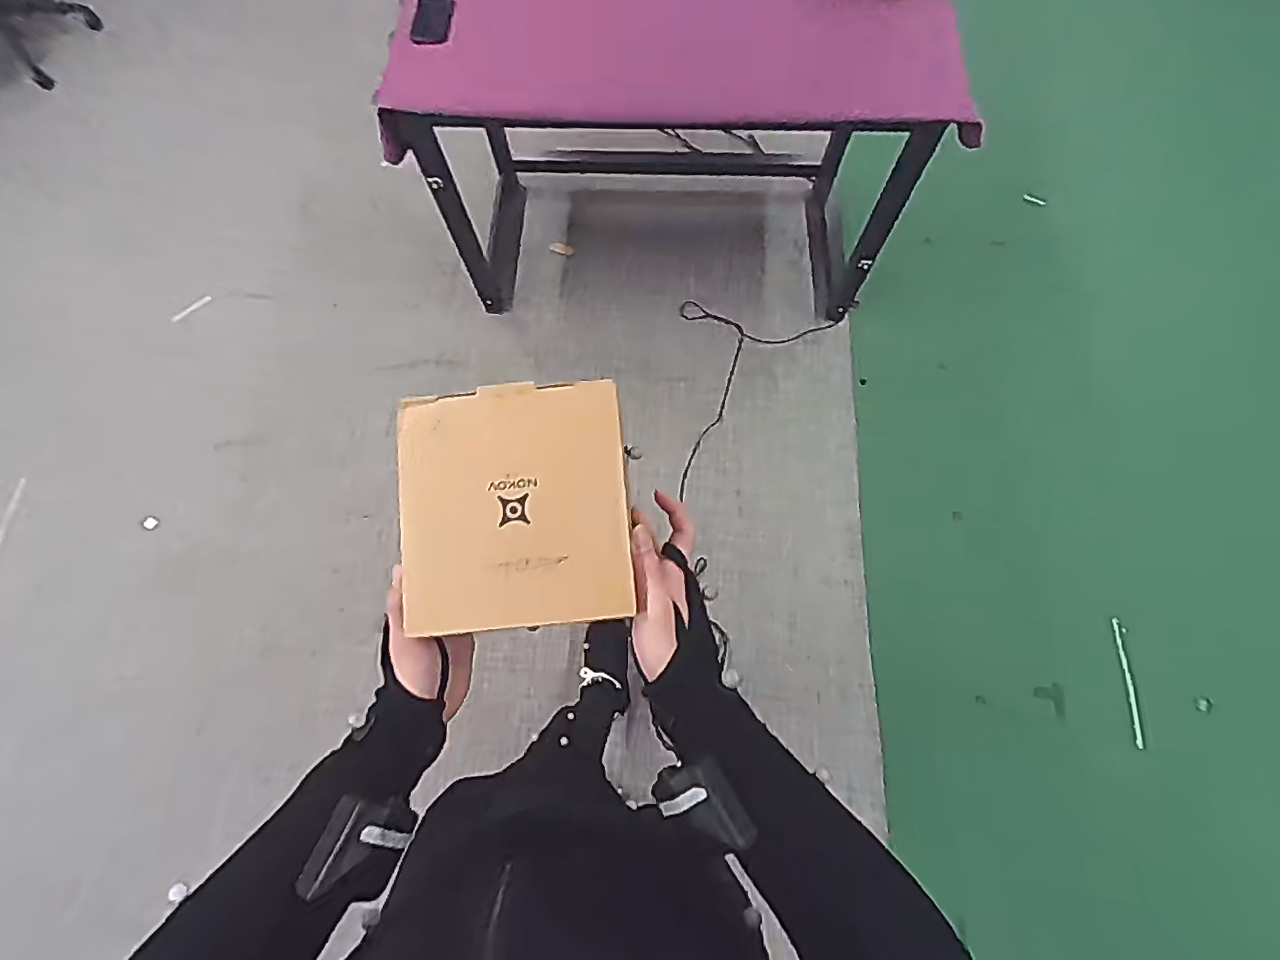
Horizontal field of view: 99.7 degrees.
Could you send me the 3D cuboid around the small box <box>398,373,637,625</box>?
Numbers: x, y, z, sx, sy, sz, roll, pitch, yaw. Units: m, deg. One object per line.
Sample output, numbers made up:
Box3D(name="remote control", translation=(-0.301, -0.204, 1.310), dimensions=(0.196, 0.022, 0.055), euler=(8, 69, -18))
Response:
Box3D(name="small box", translation=(-0.092, 0.023, 0.470), dimensions=(0.168, 0.176, 0.179), euler=(-5, 82, 1))
